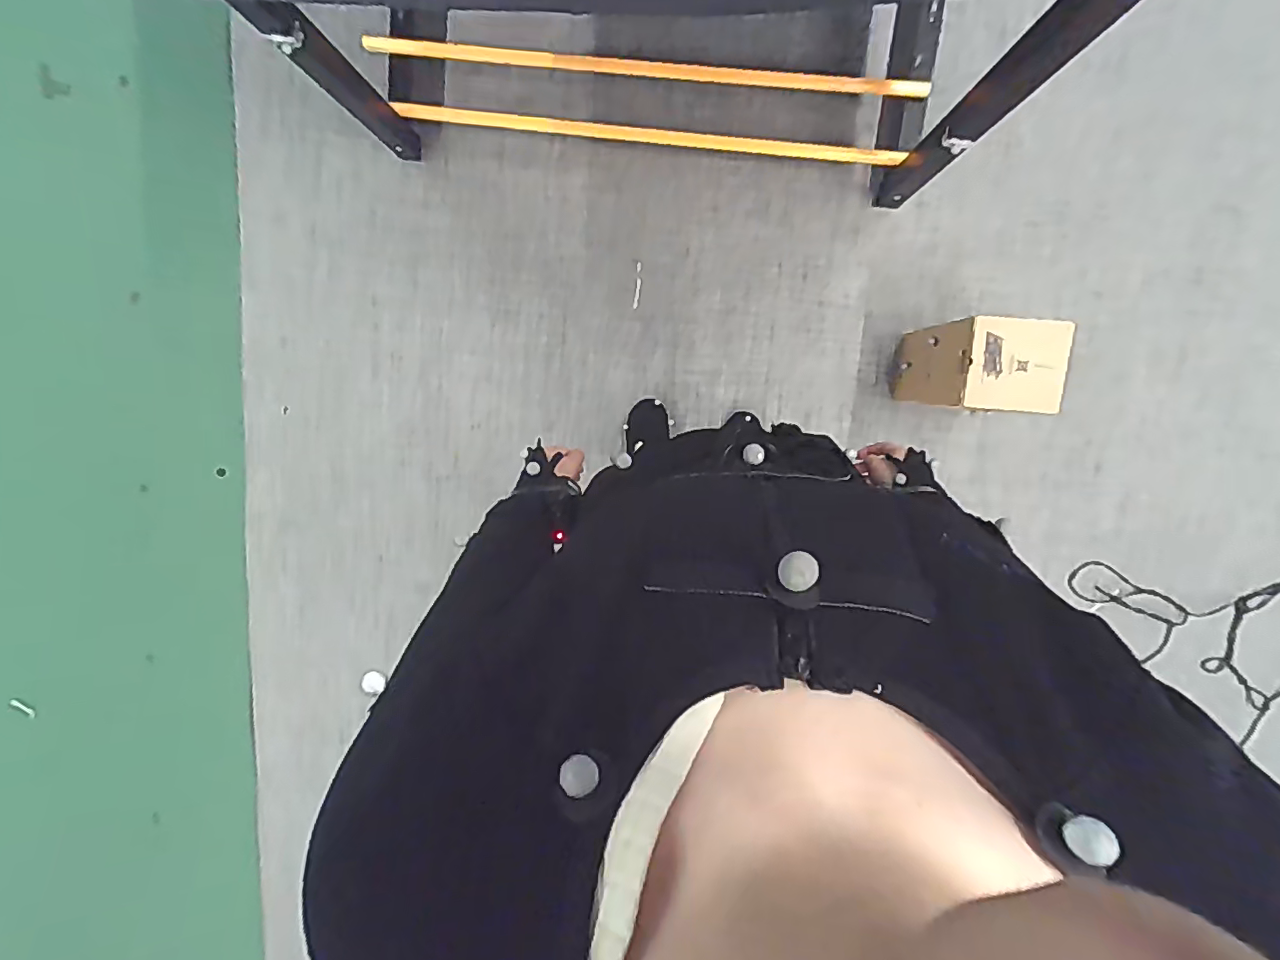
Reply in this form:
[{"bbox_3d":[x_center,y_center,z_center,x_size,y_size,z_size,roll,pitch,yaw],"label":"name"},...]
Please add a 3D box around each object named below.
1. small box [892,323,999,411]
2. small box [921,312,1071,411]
[{"bbox_3d":[0.699,-0.249,1.214,0.179,0.176,0.168,7,98,2],"label":"small box"},{"bbox_3d":[0.678,-0.224,1.052,0.179,0.176,0.168,4,98,1],"label":"small box"}]
